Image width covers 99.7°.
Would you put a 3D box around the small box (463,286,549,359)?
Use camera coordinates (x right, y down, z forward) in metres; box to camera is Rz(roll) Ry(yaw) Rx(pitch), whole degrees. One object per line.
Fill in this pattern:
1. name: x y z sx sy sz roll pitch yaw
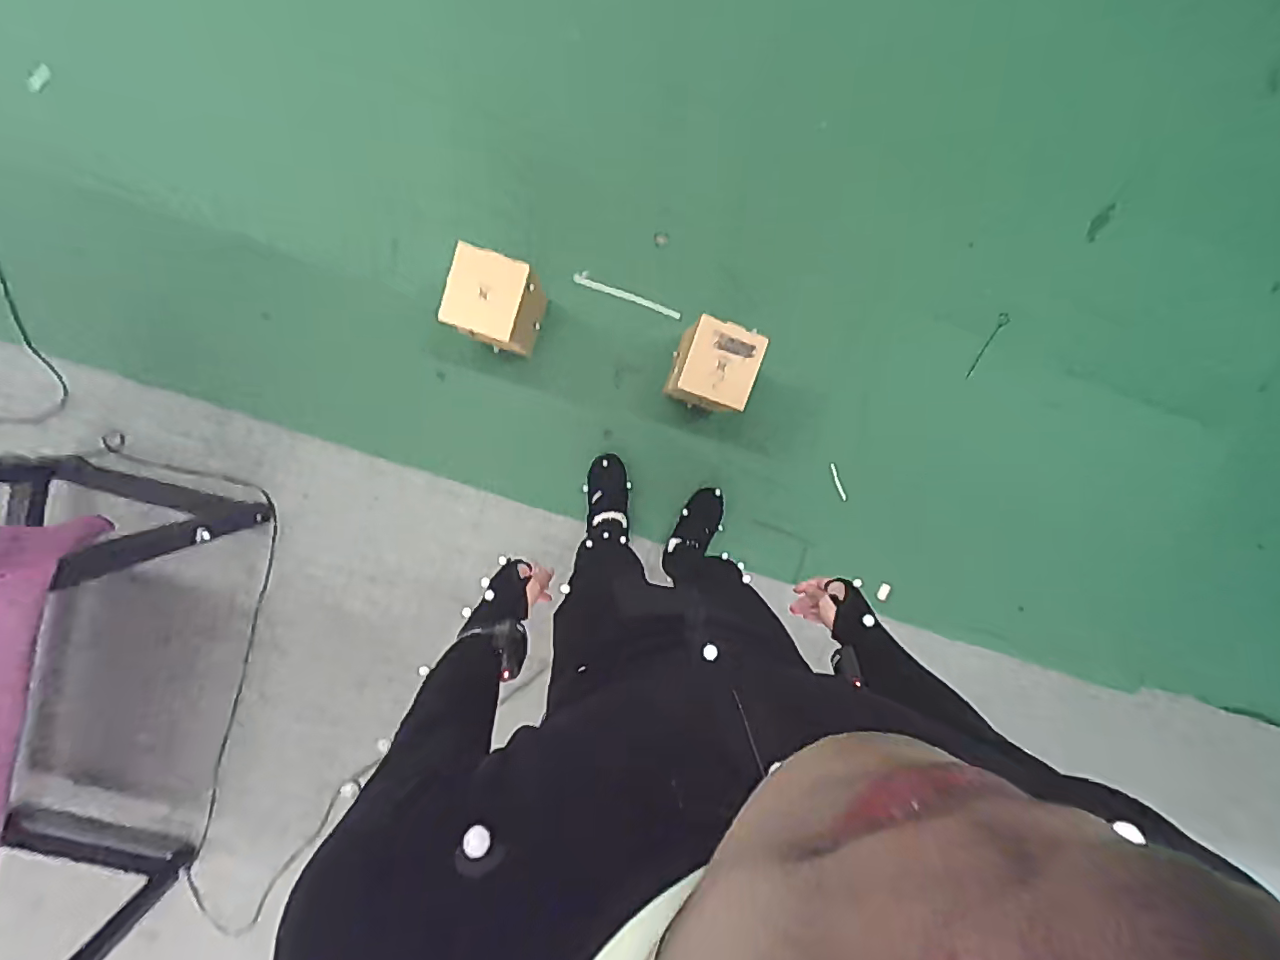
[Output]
1. small box: -0.349 -0.434 1.434 0.168 0.176 0.179 18 96 -3

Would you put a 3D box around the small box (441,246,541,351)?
1. small box: -0.341 -0.416 1.274 0.168 0.176 0.179 17 94 -3

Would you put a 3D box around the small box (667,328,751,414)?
1. small box: 0.179 -0.288 1.468 0.168 0.176 0.179 20 96 -4
